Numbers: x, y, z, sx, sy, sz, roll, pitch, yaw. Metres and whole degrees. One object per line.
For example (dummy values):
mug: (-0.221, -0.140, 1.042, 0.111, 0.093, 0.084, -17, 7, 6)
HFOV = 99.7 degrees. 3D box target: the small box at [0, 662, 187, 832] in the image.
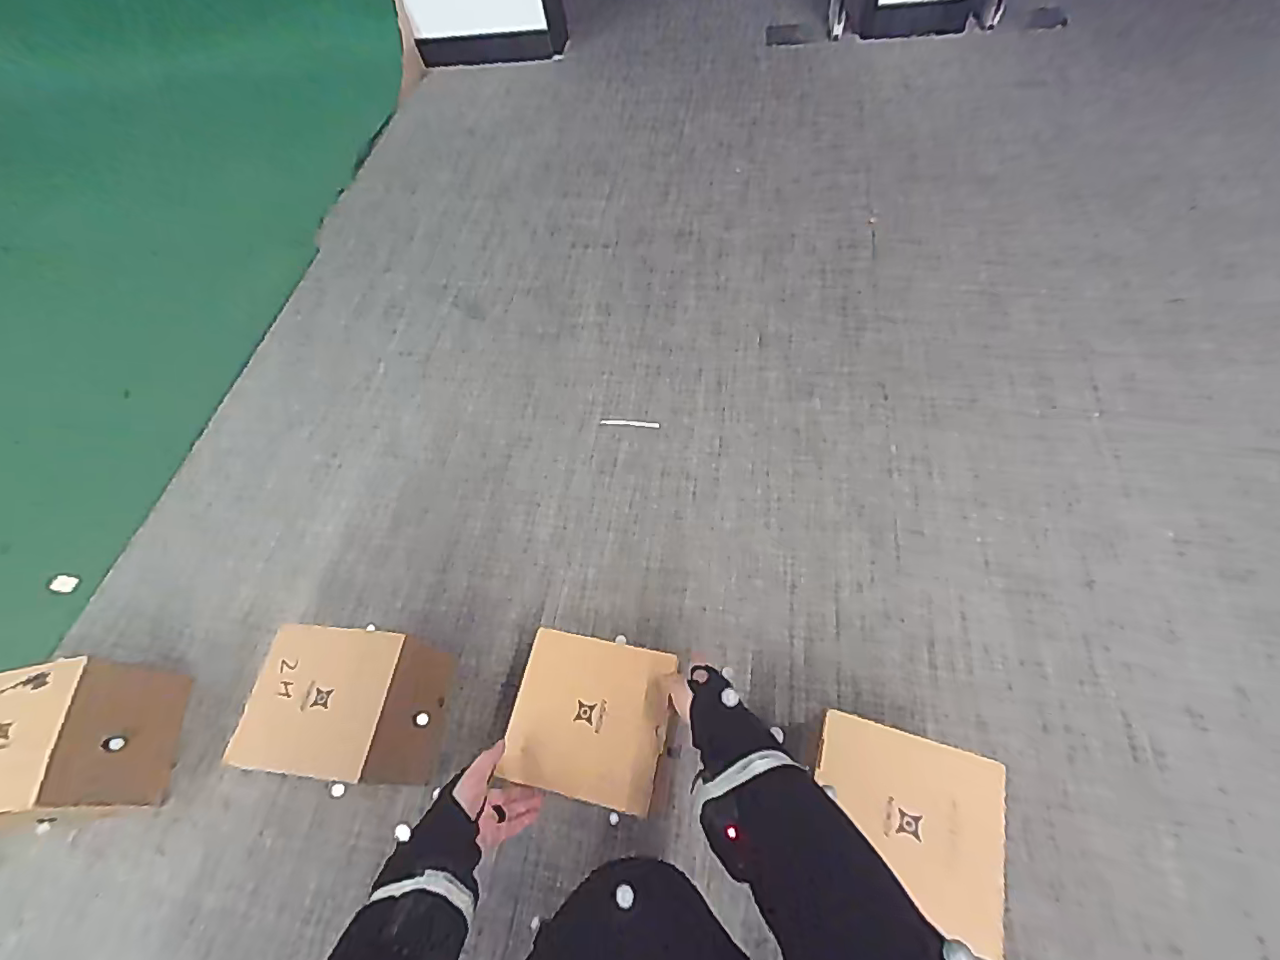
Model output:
small box: (-0.769, 0.363, 0.729, 0.168, 0.176, 0.179, -11, 59, 1)

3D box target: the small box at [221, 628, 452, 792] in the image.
small box: (-0.375, 0.305, 0.710, 0.179, 0.176, 0.168, 3, 59, 9)

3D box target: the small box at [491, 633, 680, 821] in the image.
small box: (-0.051, 0.307, 0.669, 0.179, 0.176, 0.168, 8, 61, 11)

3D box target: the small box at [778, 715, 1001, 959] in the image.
small box: (0.257, 0.377, 0.588, 0.179, 0.176, 0.168, 14, 63, 14)
